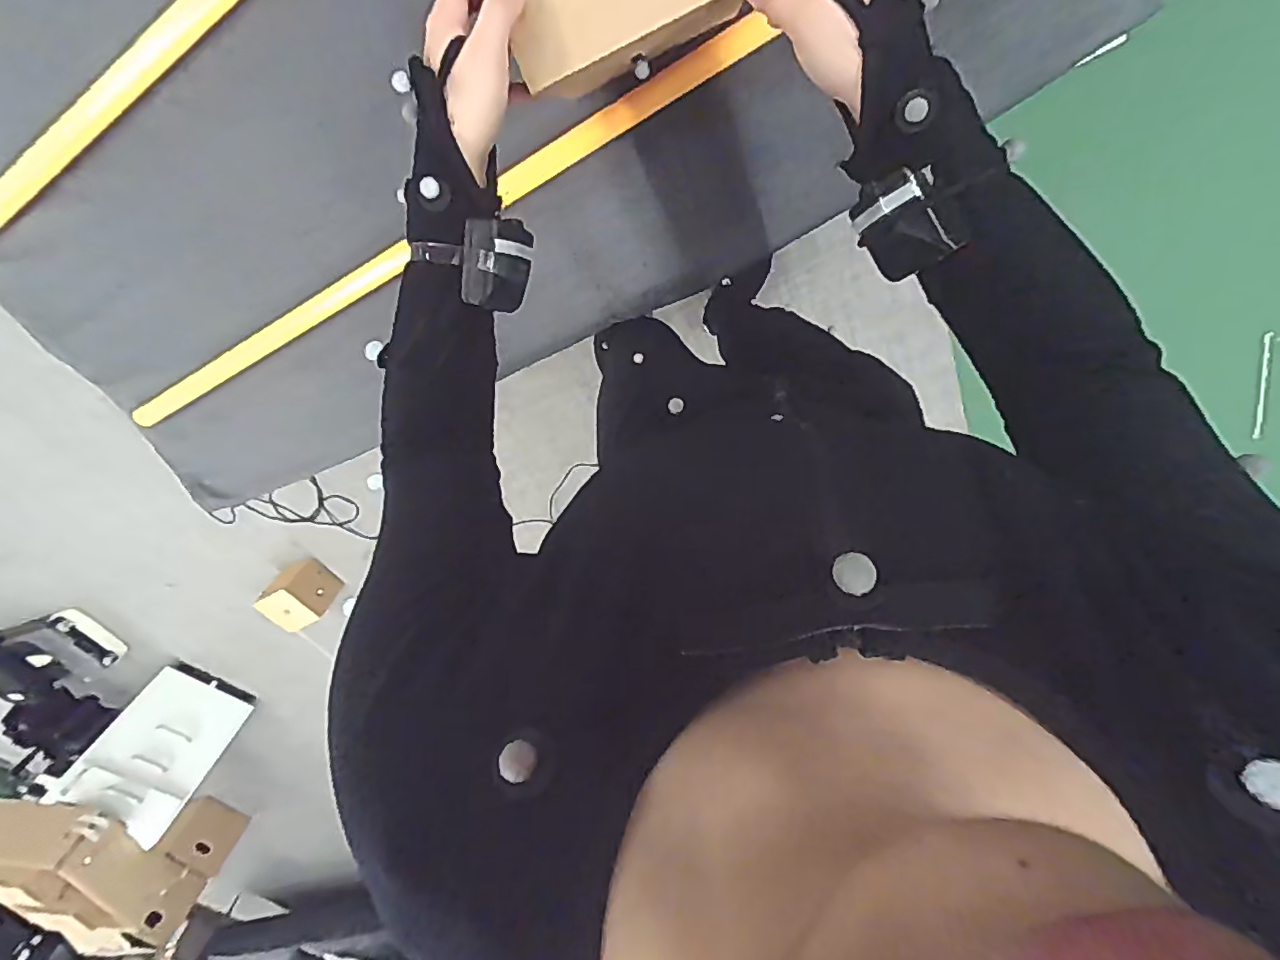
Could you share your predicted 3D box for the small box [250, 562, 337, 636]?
[{"bbox_3d":[-1.223,0.420,1.928,0.179,0.176,0.168,-24,119,20],"label":"small box"}]
